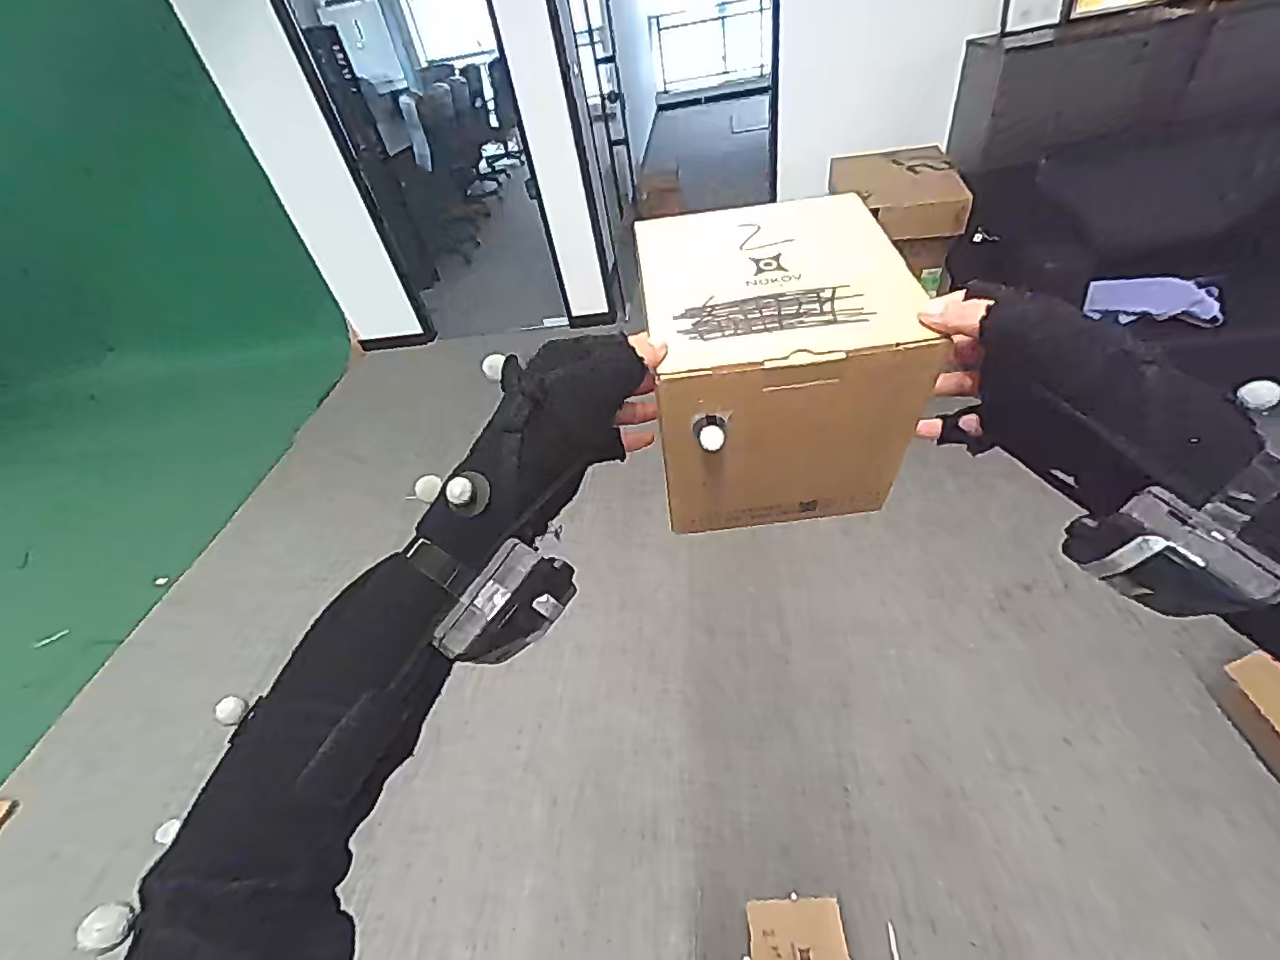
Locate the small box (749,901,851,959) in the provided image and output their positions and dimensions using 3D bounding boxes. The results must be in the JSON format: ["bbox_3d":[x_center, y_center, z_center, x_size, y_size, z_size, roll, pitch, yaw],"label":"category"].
[{"bbox_3d":[0.304,0.923,1.031,0.179,0.176,0.168,-6,41,6],"label":"small box"}]
